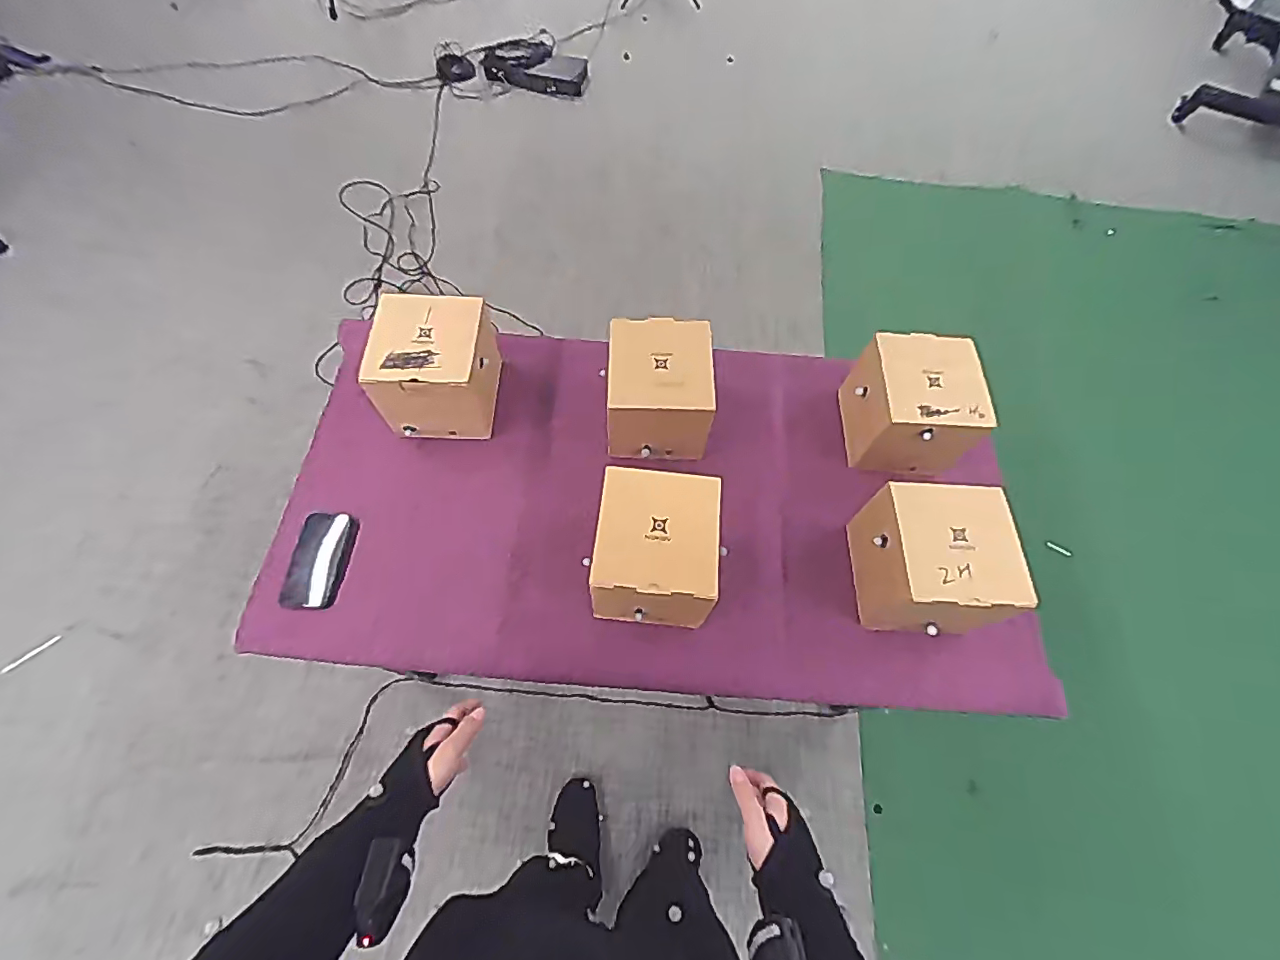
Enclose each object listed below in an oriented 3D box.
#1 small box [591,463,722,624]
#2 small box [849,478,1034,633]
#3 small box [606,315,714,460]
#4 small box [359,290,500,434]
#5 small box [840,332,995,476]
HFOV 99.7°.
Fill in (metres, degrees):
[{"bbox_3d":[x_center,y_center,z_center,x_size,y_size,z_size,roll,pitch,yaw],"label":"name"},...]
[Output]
[{"bbox_3d":[0.021,0.098,0.792,0.168,0.176,0.179,6,63,0],"label":"small box"},{"bbox_3d":[0.425,0.117,0.801,0.168,0.176,0.179,4,63,0],"label":"small box"},{"bbox_3d":[0.029,-0.152,0.916,0.168,0.176,0.179,2,65,-2],"label":"small box"},{"bbox_3d":[-0.340,-0.192,0.913,0.168,0.176,0.179,2,63,-3],"label":"small box"},{"bbox_3d":[0.458,-0.126,0.925,0.168,0.176,0.179,3,63,-1],"label":"small box"}]
